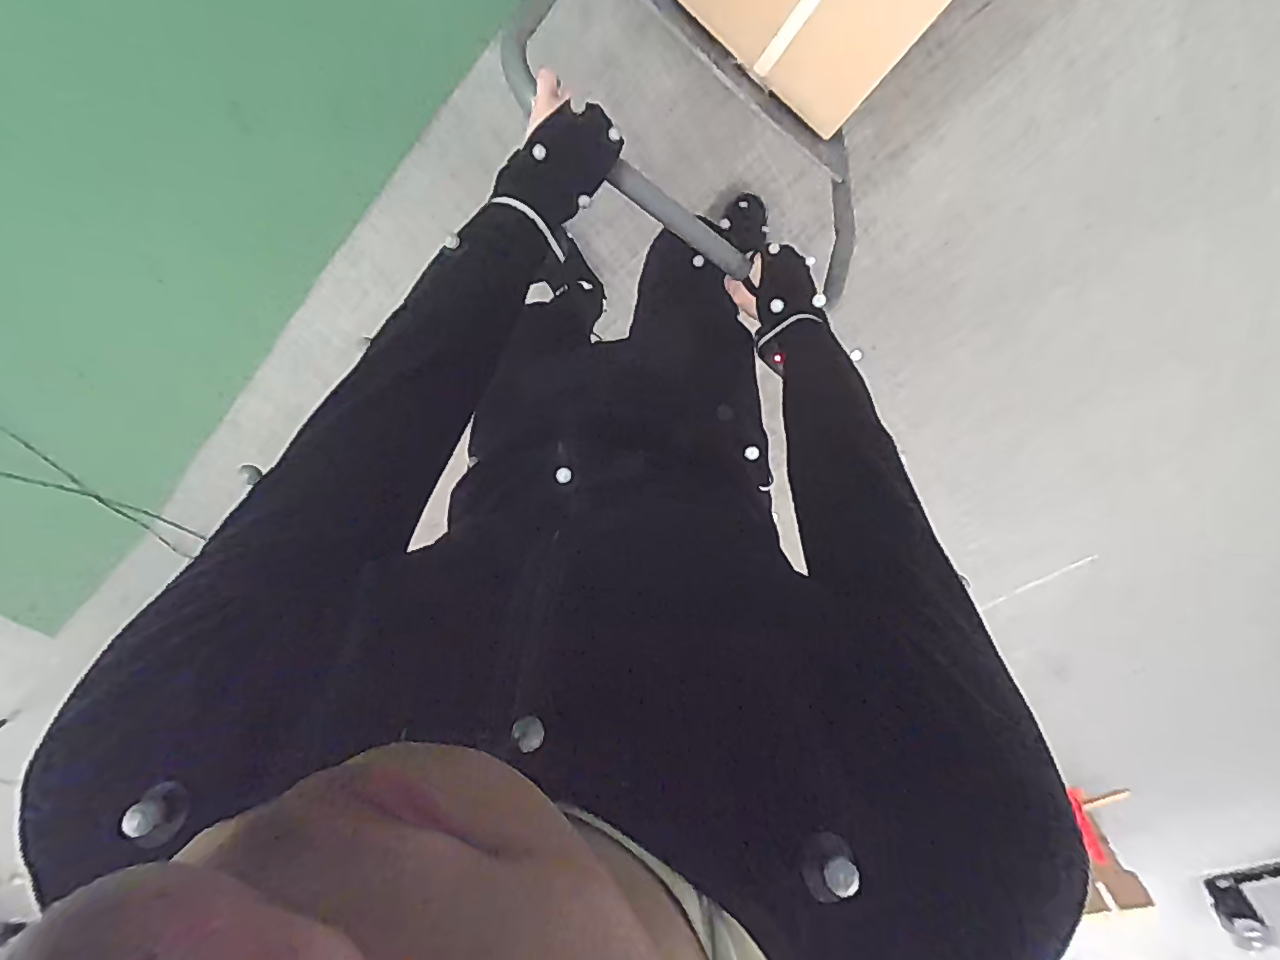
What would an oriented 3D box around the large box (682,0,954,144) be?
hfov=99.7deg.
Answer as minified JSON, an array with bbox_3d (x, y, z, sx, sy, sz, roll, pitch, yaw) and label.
[{"bbox_3d":[0.311,-0.823,0.799,0.320,0.320,0.408,29,137,-22],"label":"large box"}]
